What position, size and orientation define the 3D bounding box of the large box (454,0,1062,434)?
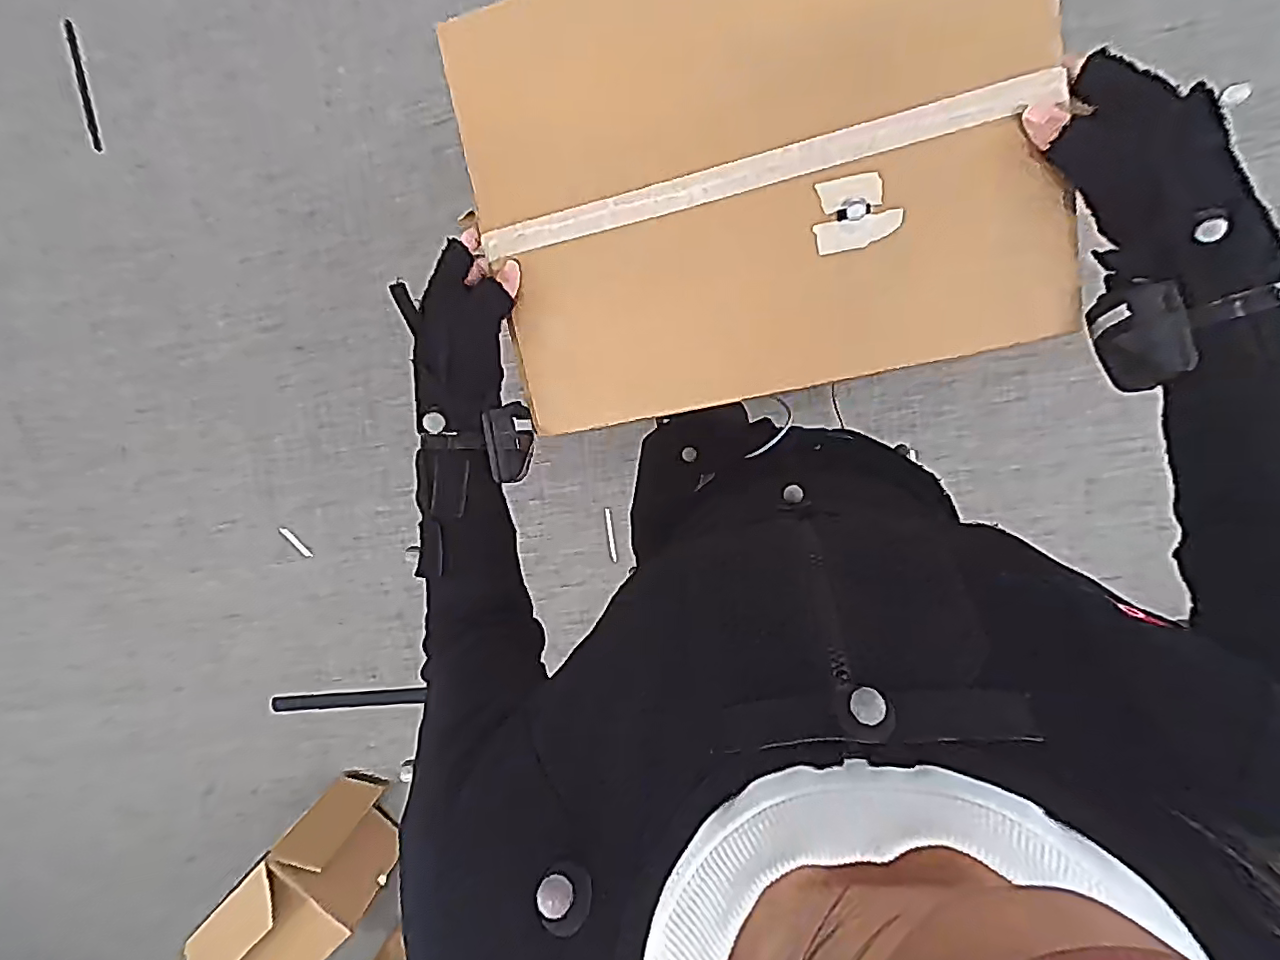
[{"bbox_3d":[0.100,-0.251,0.543,0.408,0.320,0.320,-11,101,11],"label":"large box"}]
